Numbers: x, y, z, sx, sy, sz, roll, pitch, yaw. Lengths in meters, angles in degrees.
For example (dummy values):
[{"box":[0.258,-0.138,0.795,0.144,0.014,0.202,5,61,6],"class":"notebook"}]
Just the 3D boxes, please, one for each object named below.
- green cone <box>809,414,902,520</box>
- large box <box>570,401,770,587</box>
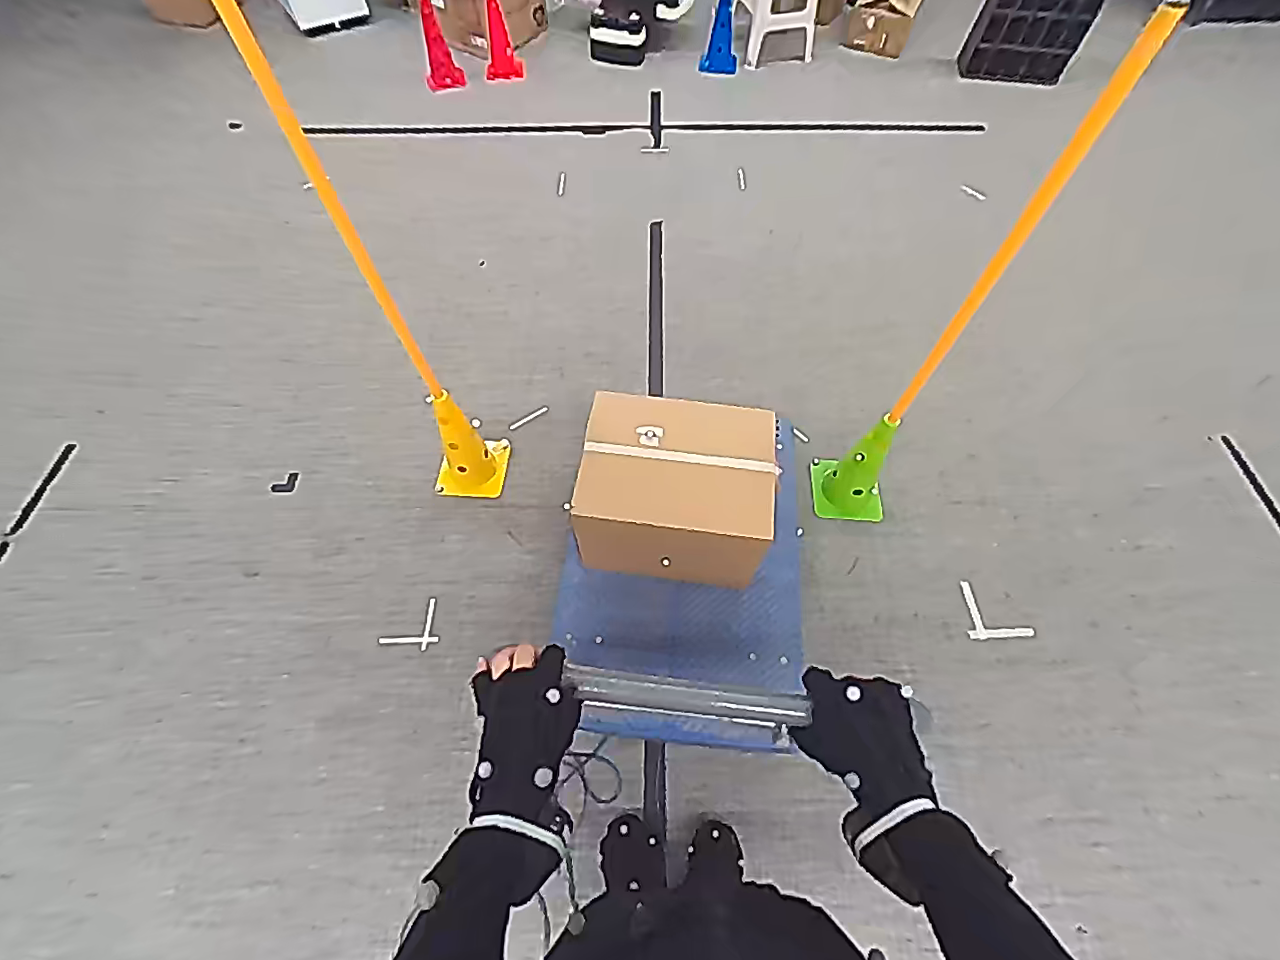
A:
[{"box":[0.621,-0.057,1.492,0.202,0.368,0.200,4,60,1],"class":"green cone"},{"box":[0.077,0.043,1.272,0.408,0.320,0.320,6,61,5],"class":"large box"}]
